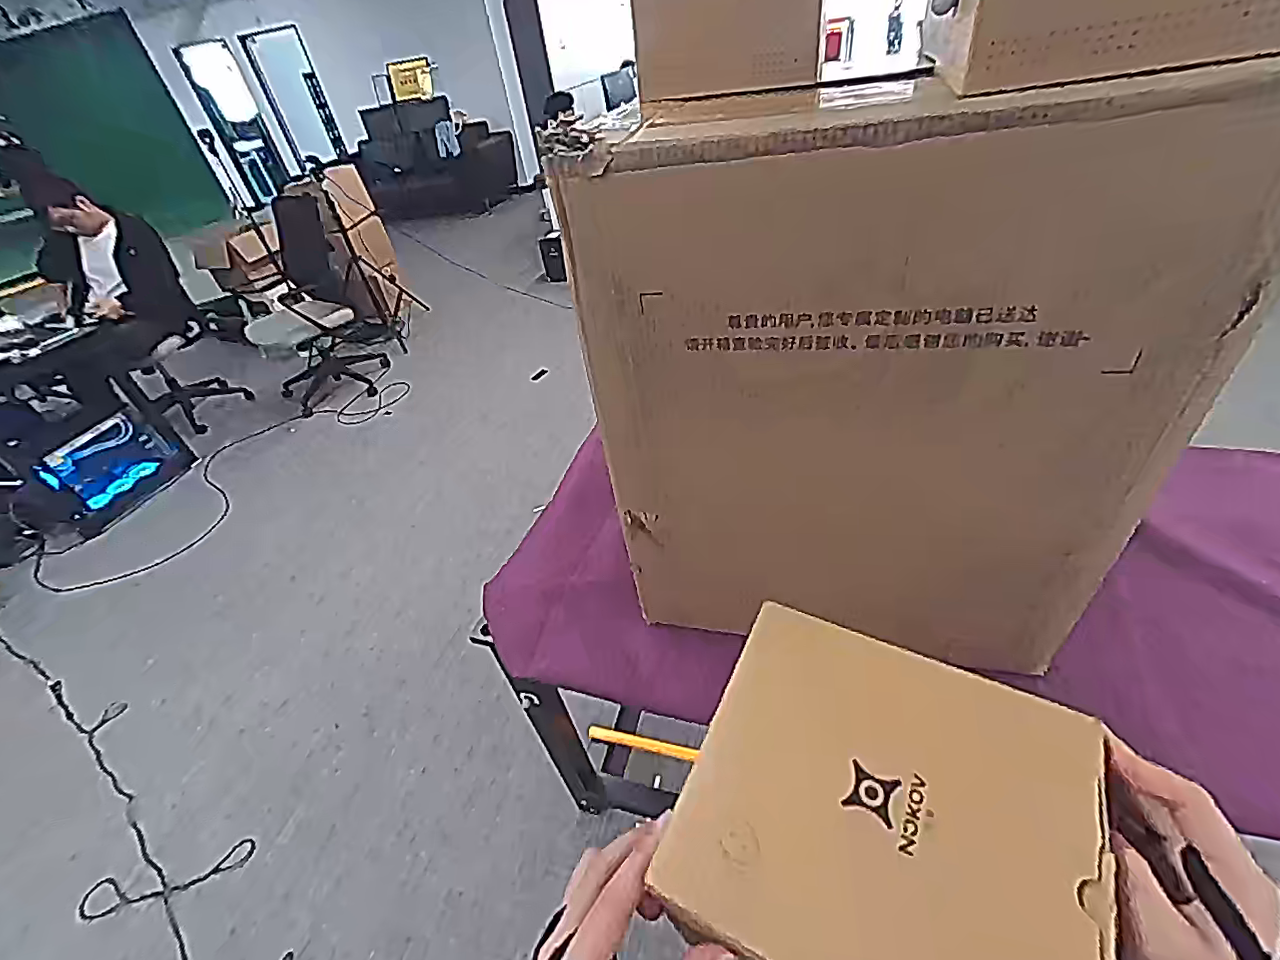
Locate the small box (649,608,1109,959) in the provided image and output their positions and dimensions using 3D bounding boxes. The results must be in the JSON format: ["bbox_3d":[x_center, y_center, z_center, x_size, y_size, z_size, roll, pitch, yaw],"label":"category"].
[{"bbox_3d":[0.126,0.211,0.311,0.179,0.176,0.168,17,50,25],"label":"small box"}]
